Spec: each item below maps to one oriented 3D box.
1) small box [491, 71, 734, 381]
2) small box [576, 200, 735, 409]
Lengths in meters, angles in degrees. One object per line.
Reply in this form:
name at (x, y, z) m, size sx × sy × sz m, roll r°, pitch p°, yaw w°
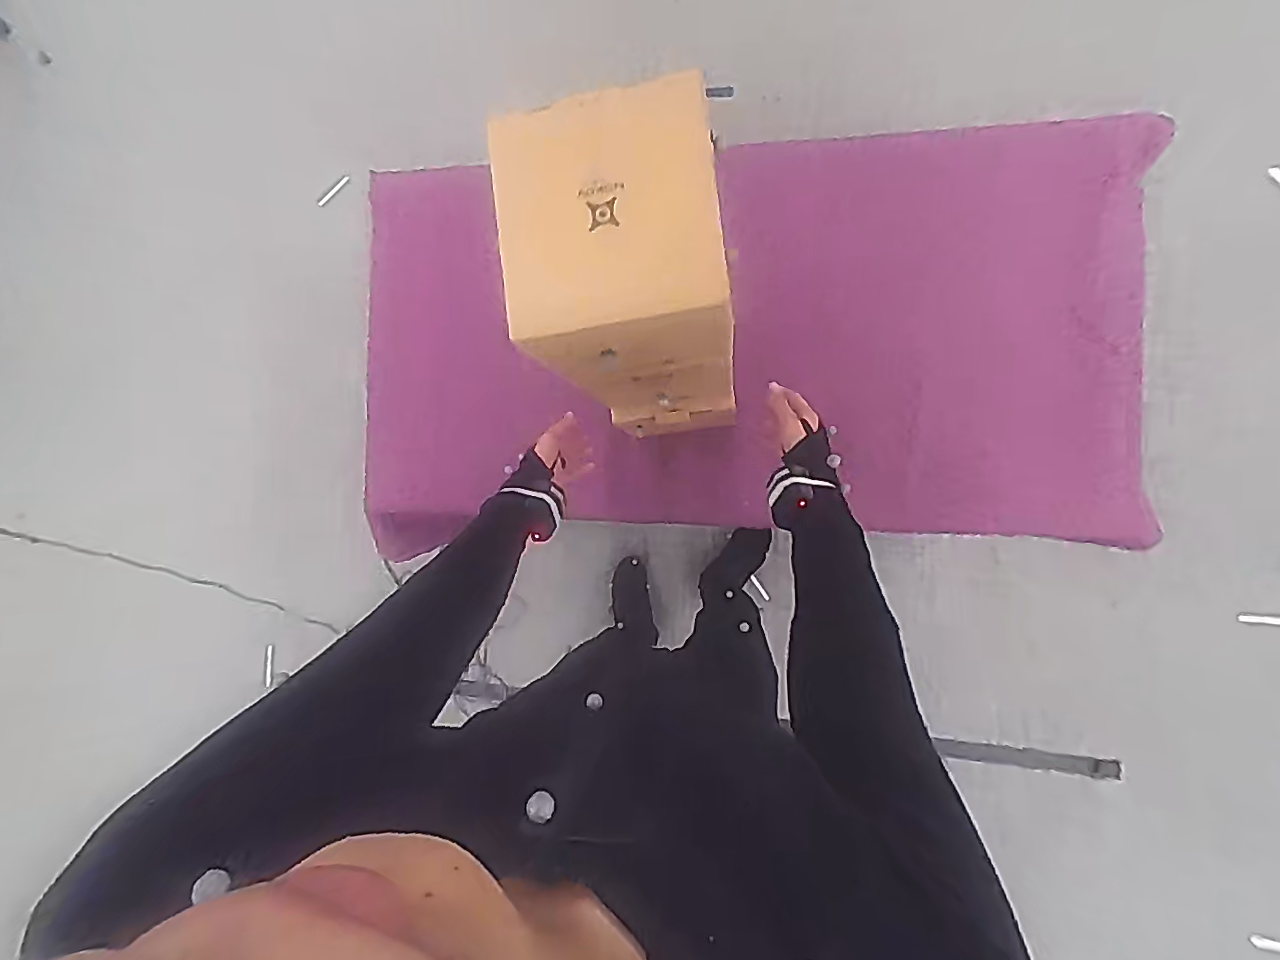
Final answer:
small box at (-0.010, -0.191, 0.469) m, size 0.168 × 0.176 × 0.179 m, roll -7°, pitch 86°, yaw 10°
small box at (0.021, -0.188, 0.629) m, size 0.168 × 0.176 × 0.179 m, roll -4°, pitch 87°, yaw 10°
